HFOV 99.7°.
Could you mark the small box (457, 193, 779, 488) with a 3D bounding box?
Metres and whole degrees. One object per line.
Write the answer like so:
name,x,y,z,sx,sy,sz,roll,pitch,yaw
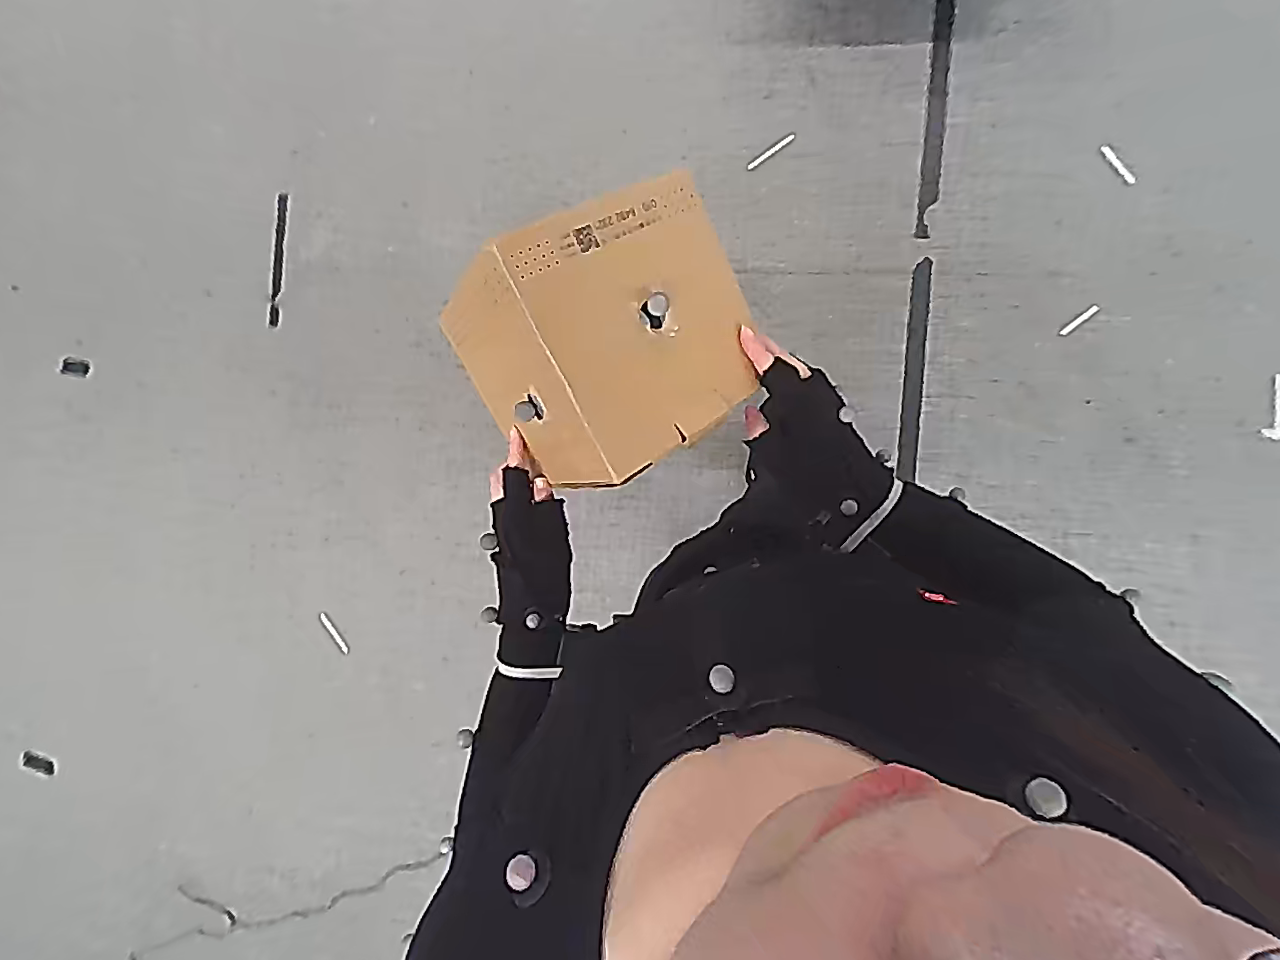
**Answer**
small box,-0.027,-0.108,0.444,0.168,0.179,0.176,-33,105,-26
